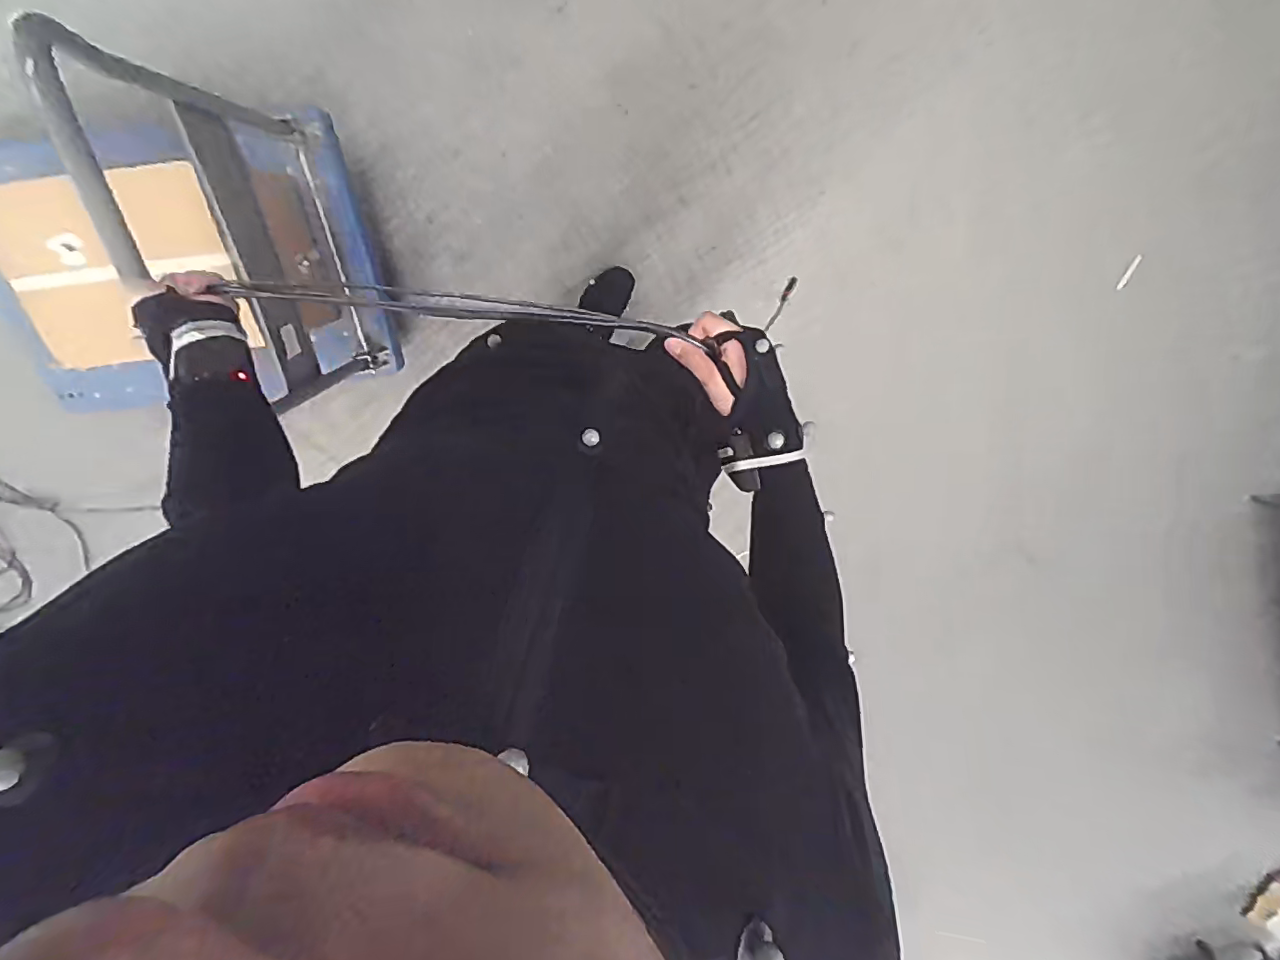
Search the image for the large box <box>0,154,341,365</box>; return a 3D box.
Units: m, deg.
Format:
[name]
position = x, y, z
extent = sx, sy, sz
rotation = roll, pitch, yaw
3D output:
[large box]
position = -0.914, -0.444, 1.092
extent = 0.408, 0.320, 0.320
rotation = -6, 116, 1
